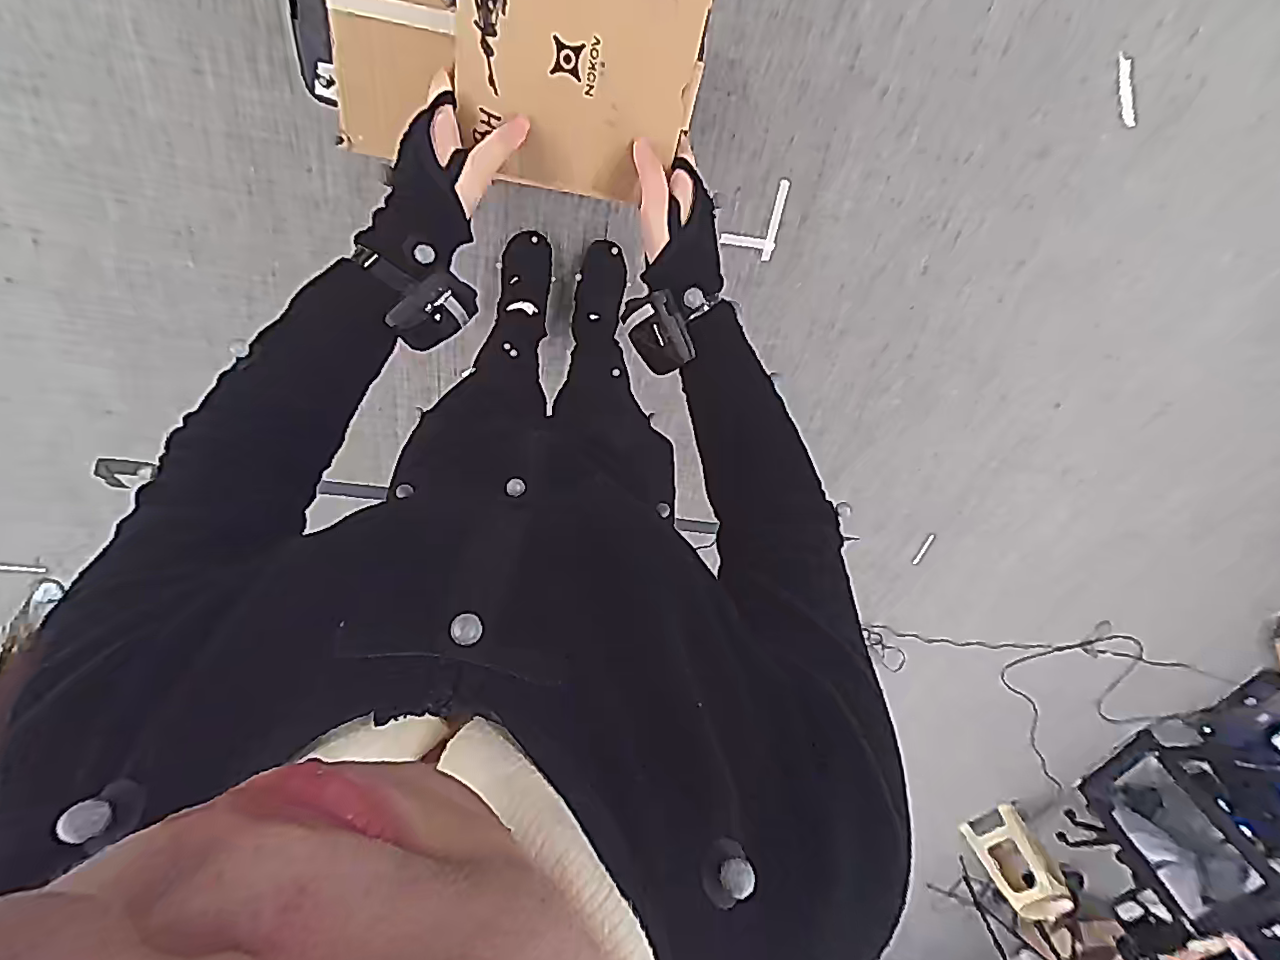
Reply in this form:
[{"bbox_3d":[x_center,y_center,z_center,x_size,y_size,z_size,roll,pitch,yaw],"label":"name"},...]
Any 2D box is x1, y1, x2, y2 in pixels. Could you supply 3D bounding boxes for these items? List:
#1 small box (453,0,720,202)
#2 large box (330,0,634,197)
[{"bbox_3d":[-0.050,-0.353,0.449,0.179,0.176,0.168,7,125,-14],"label":"small box"},{"bbox_3d":[-0.173,-0.627,0.773,0.408,0.320,0.320,6,123,-9],"label":"large box"}]
